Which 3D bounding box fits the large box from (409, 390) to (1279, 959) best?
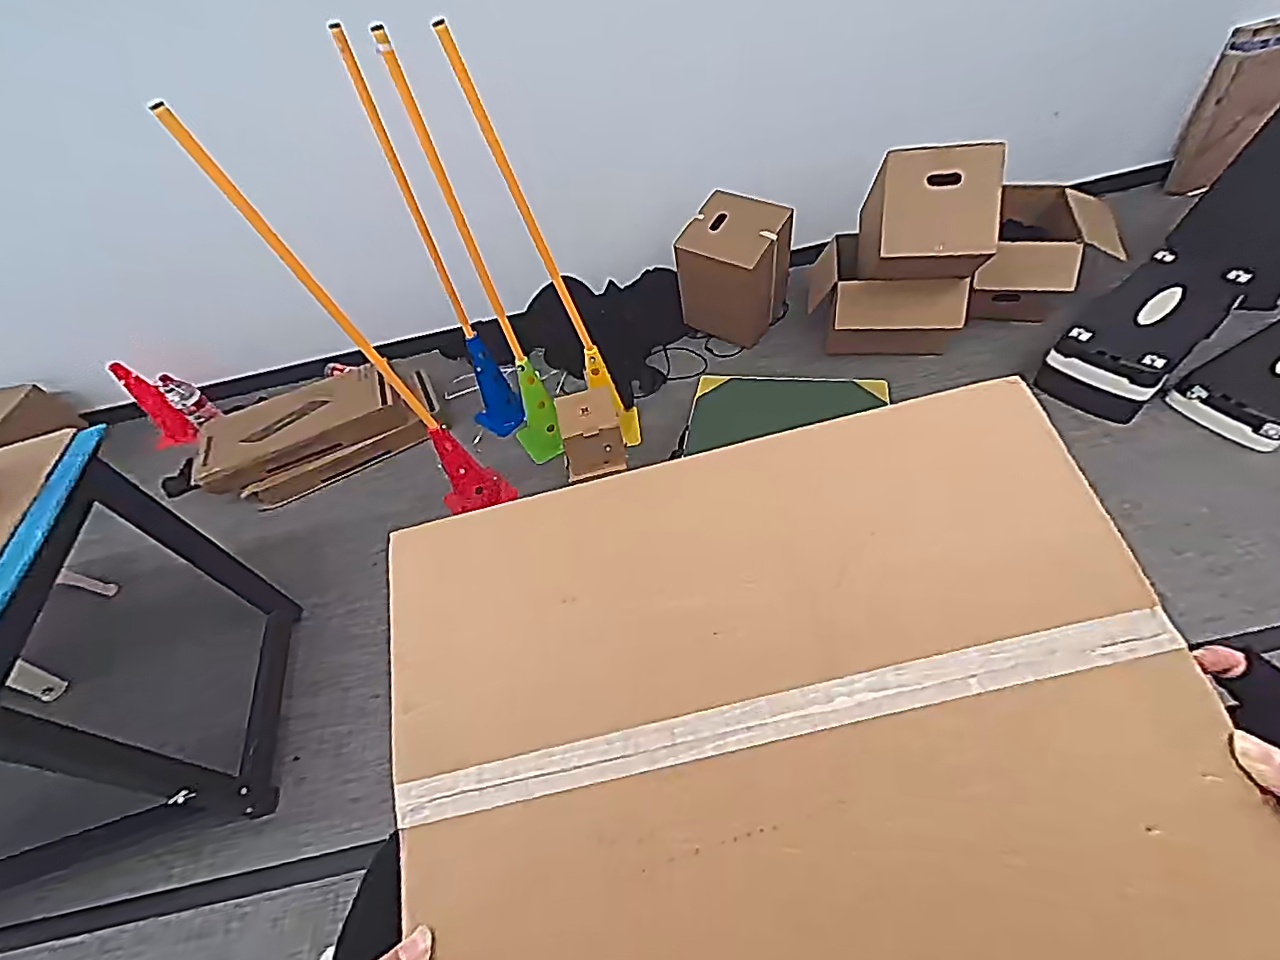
[{"bbox_3d":[0.091,0.186,0.424,0.408,0.320,0.320,-15,67,3],"label":"large box"}]
